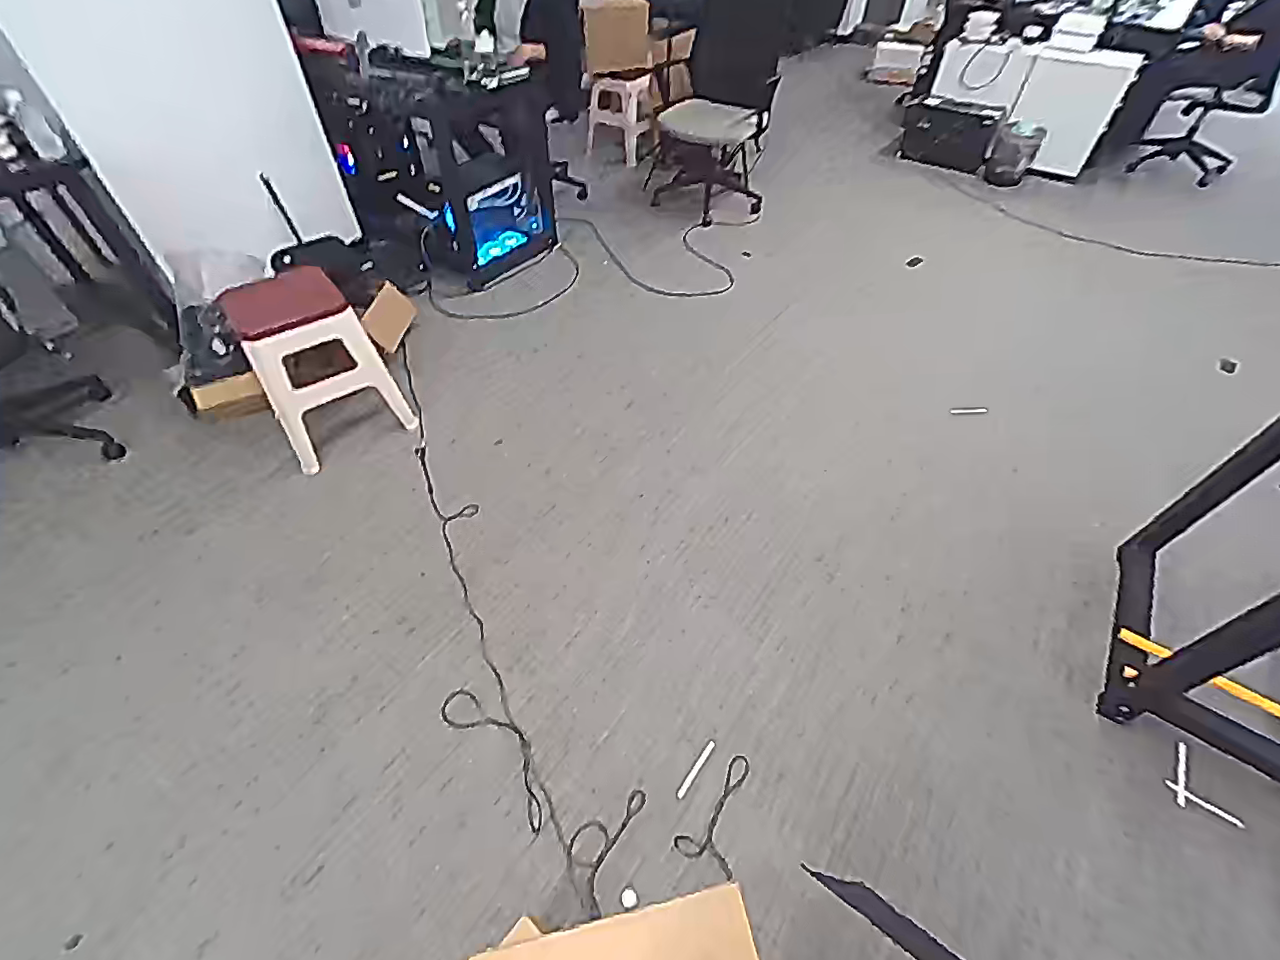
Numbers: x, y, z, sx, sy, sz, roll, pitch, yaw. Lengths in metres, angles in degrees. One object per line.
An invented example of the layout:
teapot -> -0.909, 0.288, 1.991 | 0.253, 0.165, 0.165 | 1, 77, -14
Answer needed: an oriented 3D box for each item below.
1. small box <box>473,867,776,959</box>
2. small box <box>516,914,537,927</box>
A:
small box -> 0.011, 0.366, 0.335 | 0.179, 0.176, 0.168 | -14, 50, -2
small box -> -0.184, 0.852, 0.871 | 0.168, 0.176, 0.179 | 34, 57, 26
